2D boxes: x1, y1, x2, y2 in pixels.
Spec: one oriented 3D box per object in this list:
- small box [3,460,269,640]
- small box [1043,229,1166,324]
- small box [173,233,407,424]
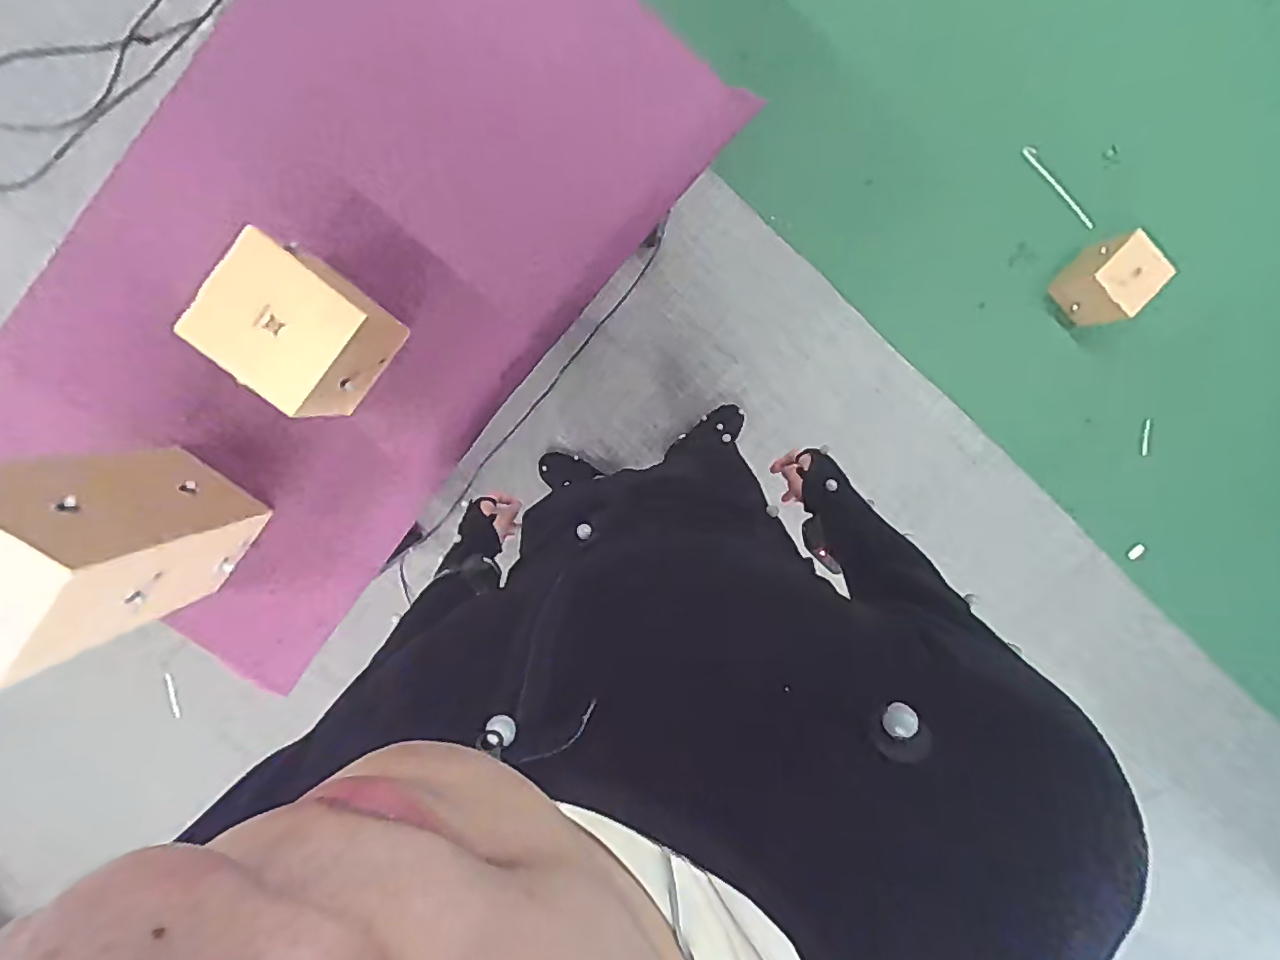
[{"bbox_3d":[-0.685,0.085,0.760,0.179,0.176,0.168,37,93,-8],"label":"small box"},{"bbox_3d":[1.327,-0.577,1.558,0.168,0.176,0.179,42,93,-8],"label":"small box"},{"bbox_3d":[-0.460,-0.196,0.746,0.179,0.176,0.168,37,93,-7],"label":"small box"}]
